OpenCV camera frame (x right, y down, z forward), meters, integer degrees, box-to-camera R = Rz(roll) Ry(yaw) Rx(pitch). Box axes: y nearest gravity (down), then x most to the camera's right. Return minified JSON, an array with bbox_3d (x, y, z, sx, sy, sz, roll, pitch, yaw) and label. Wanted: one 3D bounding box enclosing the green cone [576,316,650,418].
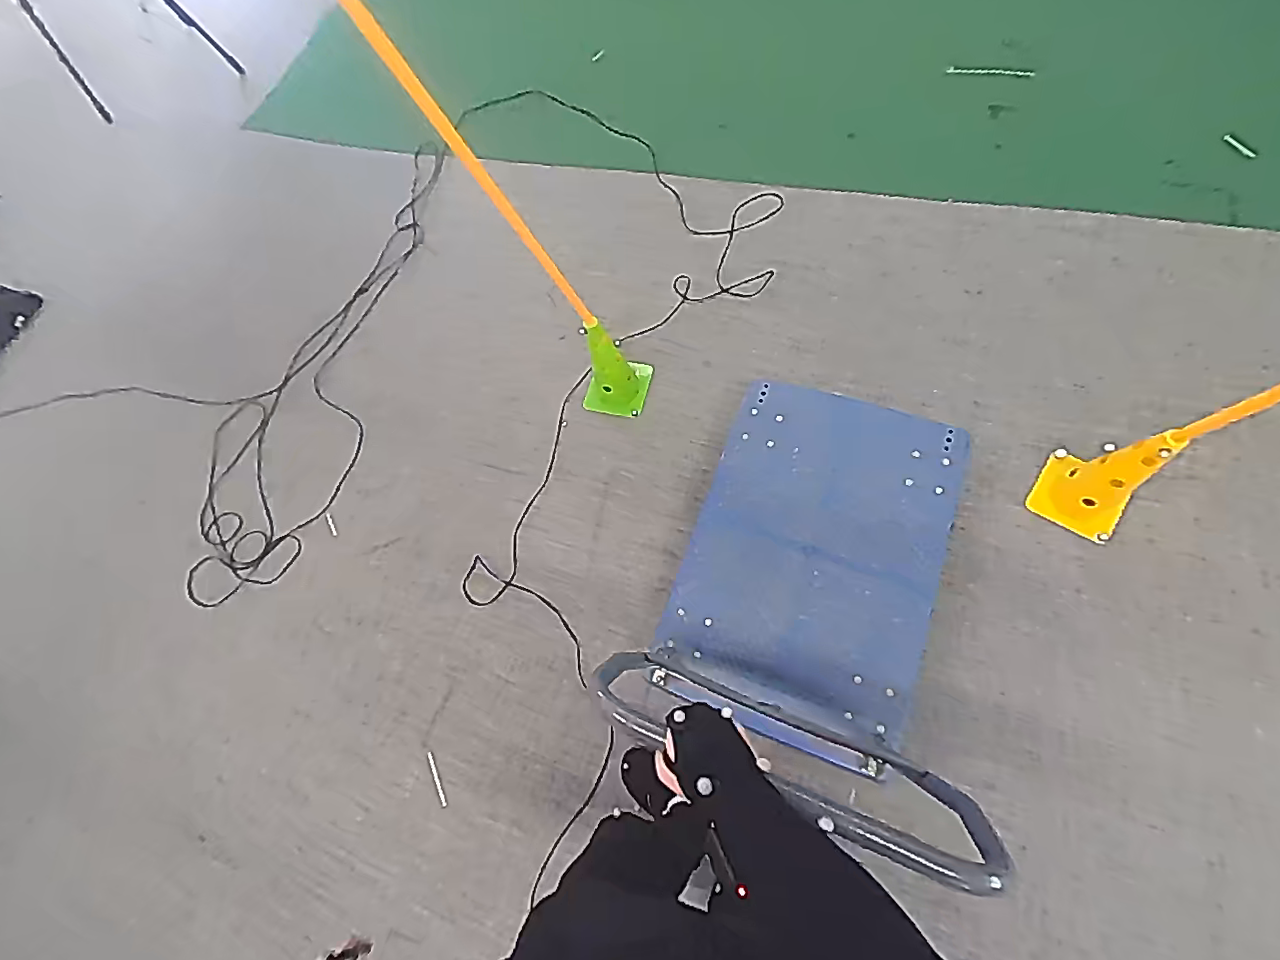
[{"bbox_3d":[-0.114,-0.365,1.627,0.202,0.368,0.200,10,70,16],"label":"green cone"}]
